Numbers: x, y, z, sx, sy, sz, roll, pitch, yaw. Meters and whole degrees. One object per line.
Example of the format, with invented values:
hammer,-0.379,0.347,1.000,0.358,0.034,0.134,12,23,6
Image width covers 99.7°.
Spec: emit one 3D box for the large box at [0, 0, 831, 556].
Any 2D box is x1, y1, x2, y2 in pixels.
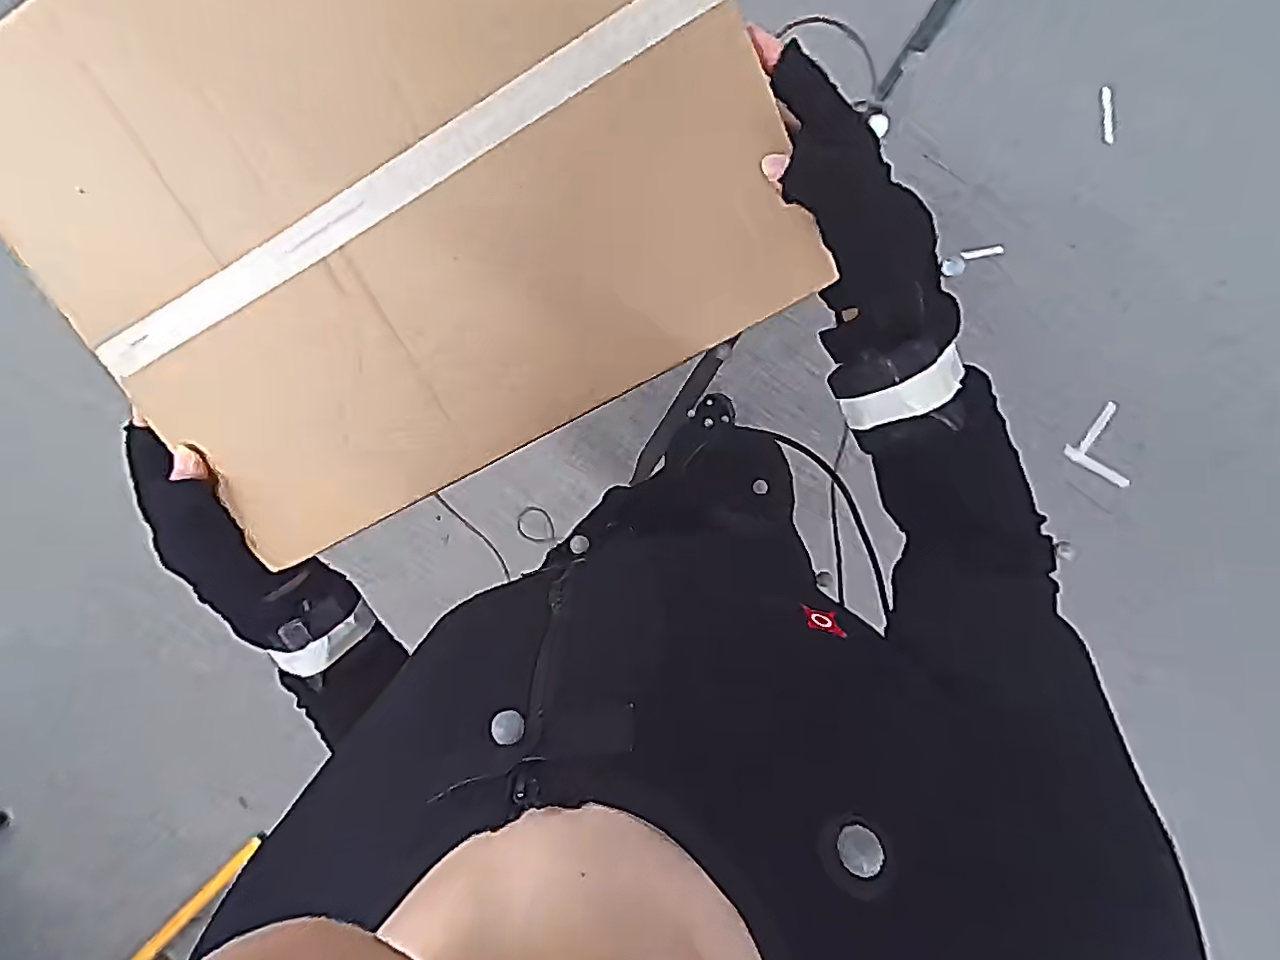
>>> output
large box,-0.125,-0.205,0.447,0.408,0.320,0.320,-25,105,9
